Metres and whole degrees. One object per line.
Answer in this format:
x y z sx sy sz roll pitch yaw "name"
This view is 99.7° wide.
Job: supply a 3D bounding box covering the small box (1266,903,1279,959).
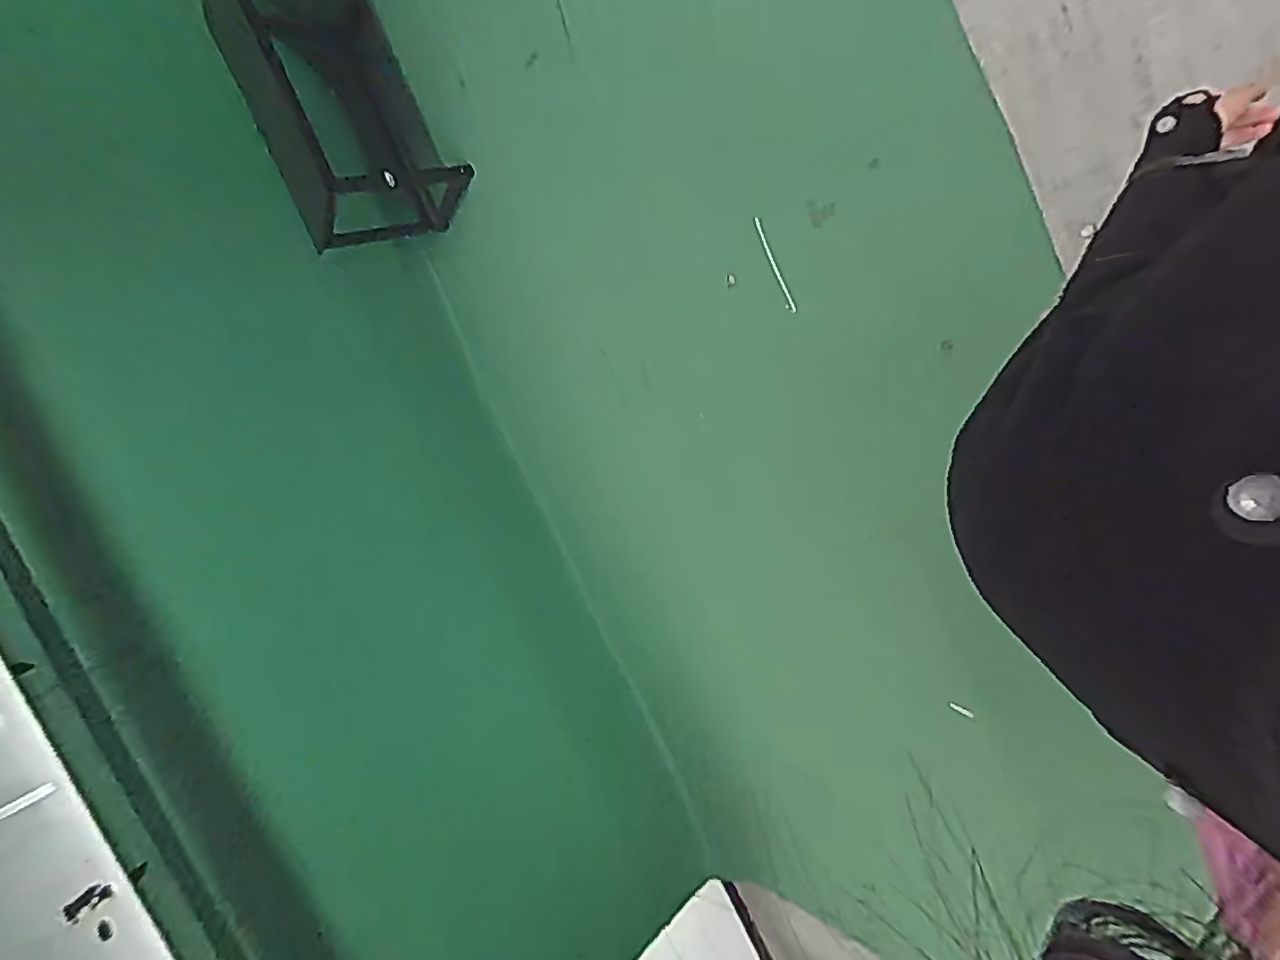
0.818 0.544 0.561 0.179 0.176 0.168 -25 93 57 "small box"
